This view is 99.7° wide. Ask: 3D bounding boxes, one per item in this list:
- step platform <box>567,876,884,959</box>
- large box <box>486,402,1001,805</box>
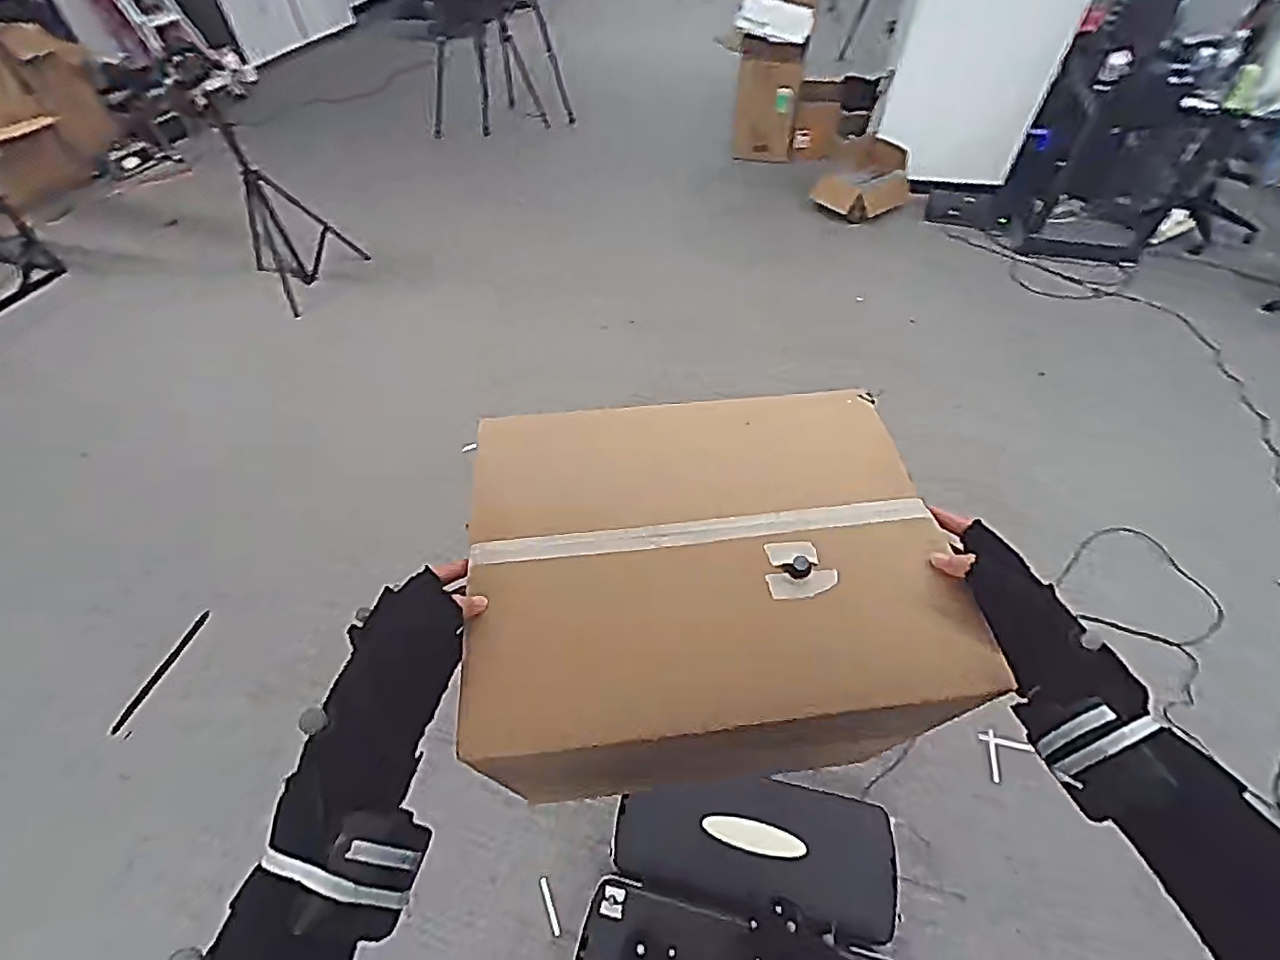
[{"bbox_3d":[0.179,1.085,1.135,0.684,0.204,0.286,8,52,10],"label":"step platform"},{"bbox_3d":[0.063,0.143,0.604,0.408,0.320,0.320,-5,54,-5],"label":"large box"}]
